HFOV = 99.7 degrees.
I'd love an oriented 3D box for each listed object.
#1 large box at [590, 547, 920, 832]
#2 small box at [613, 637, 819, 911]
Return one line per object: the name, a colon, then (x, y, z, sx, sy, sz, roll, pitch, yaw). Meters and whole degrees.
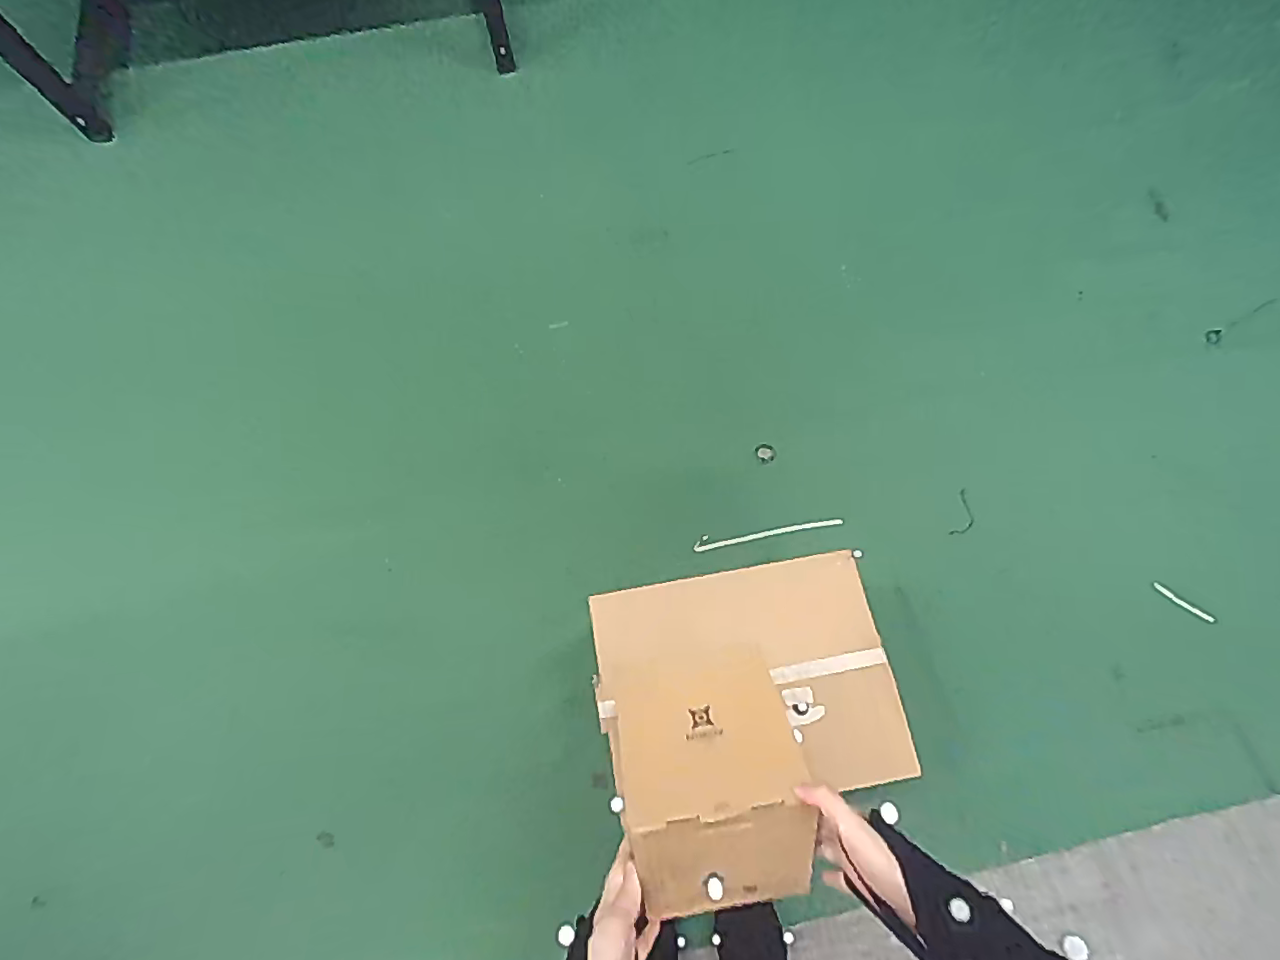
large box: (0.149, 0.328, 0.889, 0.408, 0.320, 0.320, -10, 71, -3)
small box: (0.066, 0.295, 0.557, 0.168, 0.176, 0.179, -9, 32, -3)
